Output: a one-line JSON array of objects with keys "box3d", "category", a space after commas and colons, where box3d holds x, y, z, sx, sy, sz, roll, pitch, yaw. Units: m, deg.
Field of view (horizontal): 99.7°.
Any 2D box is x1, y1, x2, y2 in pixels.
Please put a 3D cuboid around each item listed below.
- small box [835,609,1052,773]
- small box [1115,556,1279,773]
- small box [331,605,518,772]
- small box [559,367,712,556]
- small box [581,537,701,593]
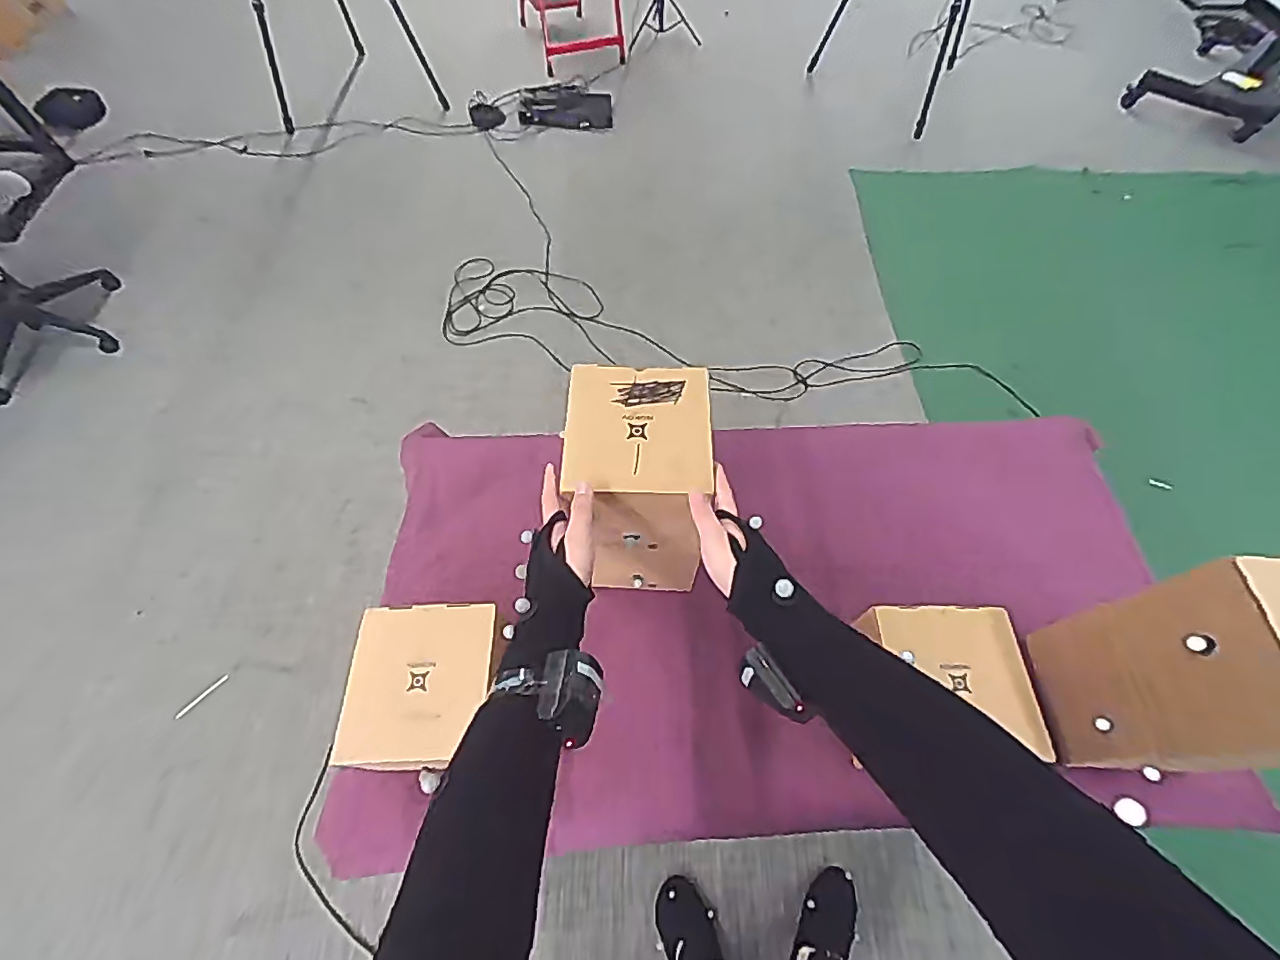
[{"box3d": [0.369, 0.277, 0.699, 0.168, 0.176, 0.179, 0, 58, 0], "category": "small box"}, {"box3d": [0.652, 0.194, 0.553, 0.168, 0.176, 0.179, 1, 59, 2], "category": "small box"}, {"box3d": [-0.258, 0.273, 0.698, 0.168, 0.176, 0.179, -2, 60, -1], "category": "small box"}, {"box3d": [-0.003, -0.018, 0.677, 0.168, 0.176, 0.179, 2, 62, 1], "category": "small box"}, {"box3d": [0.003, 0.058, 0.822, 0.168, 0.176, 0.179, 3, 61, 2], "category": "small box"}]
